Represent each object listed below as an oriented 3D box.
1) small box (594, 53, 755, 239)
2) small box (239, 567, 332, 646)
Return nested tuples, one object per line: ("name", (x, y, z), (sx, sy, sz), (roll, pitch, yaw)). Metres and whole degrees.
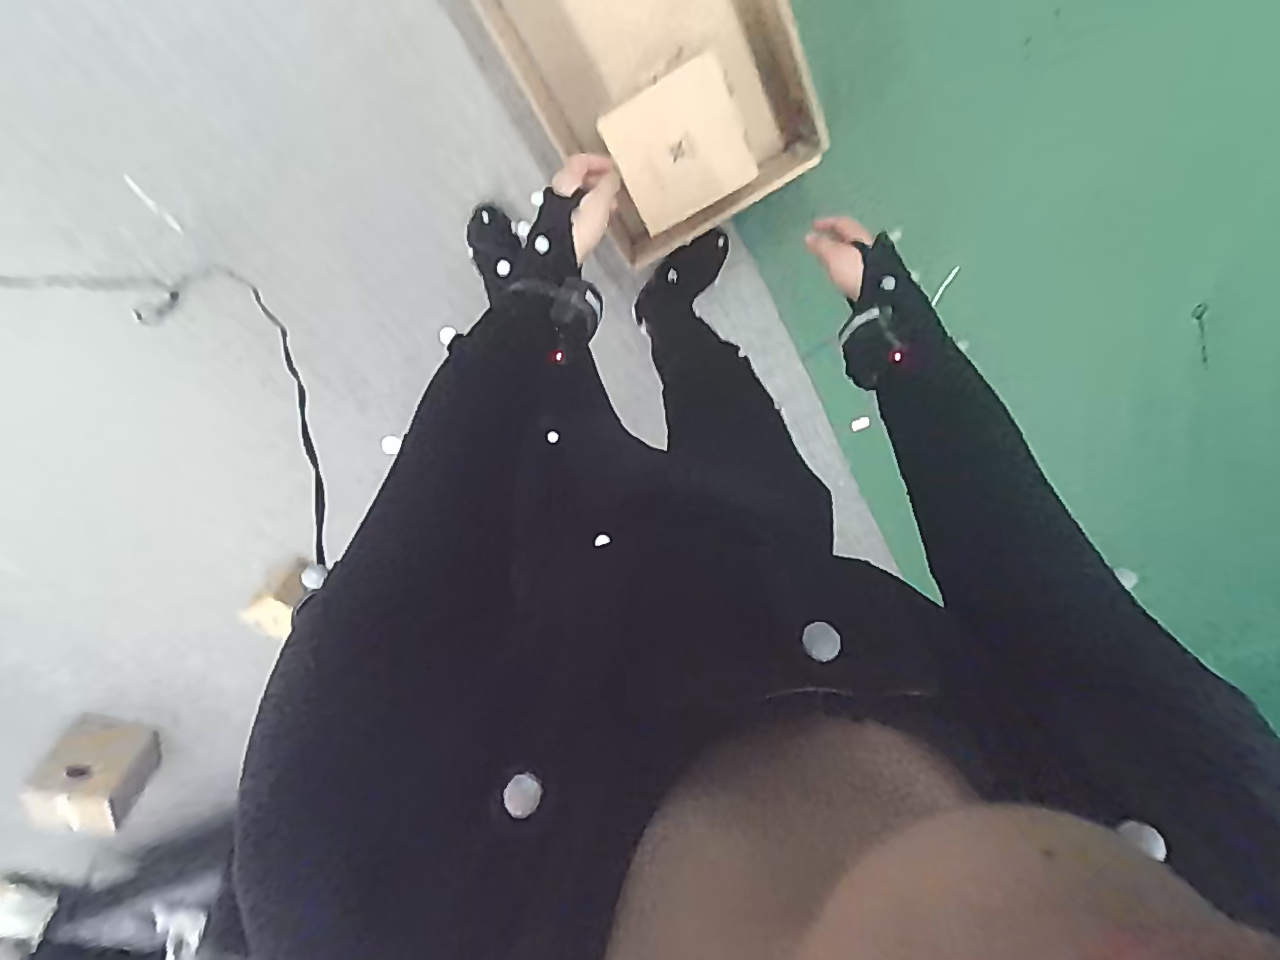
("small box", (0.050, -0.499, 0.805), (0.179, 0.176, 0.168), (-22, 125, 19))
("small box", (-1.162, 0.416, 1.794), (0.179, 0.176, 0.168), (-27, 124, 18))
